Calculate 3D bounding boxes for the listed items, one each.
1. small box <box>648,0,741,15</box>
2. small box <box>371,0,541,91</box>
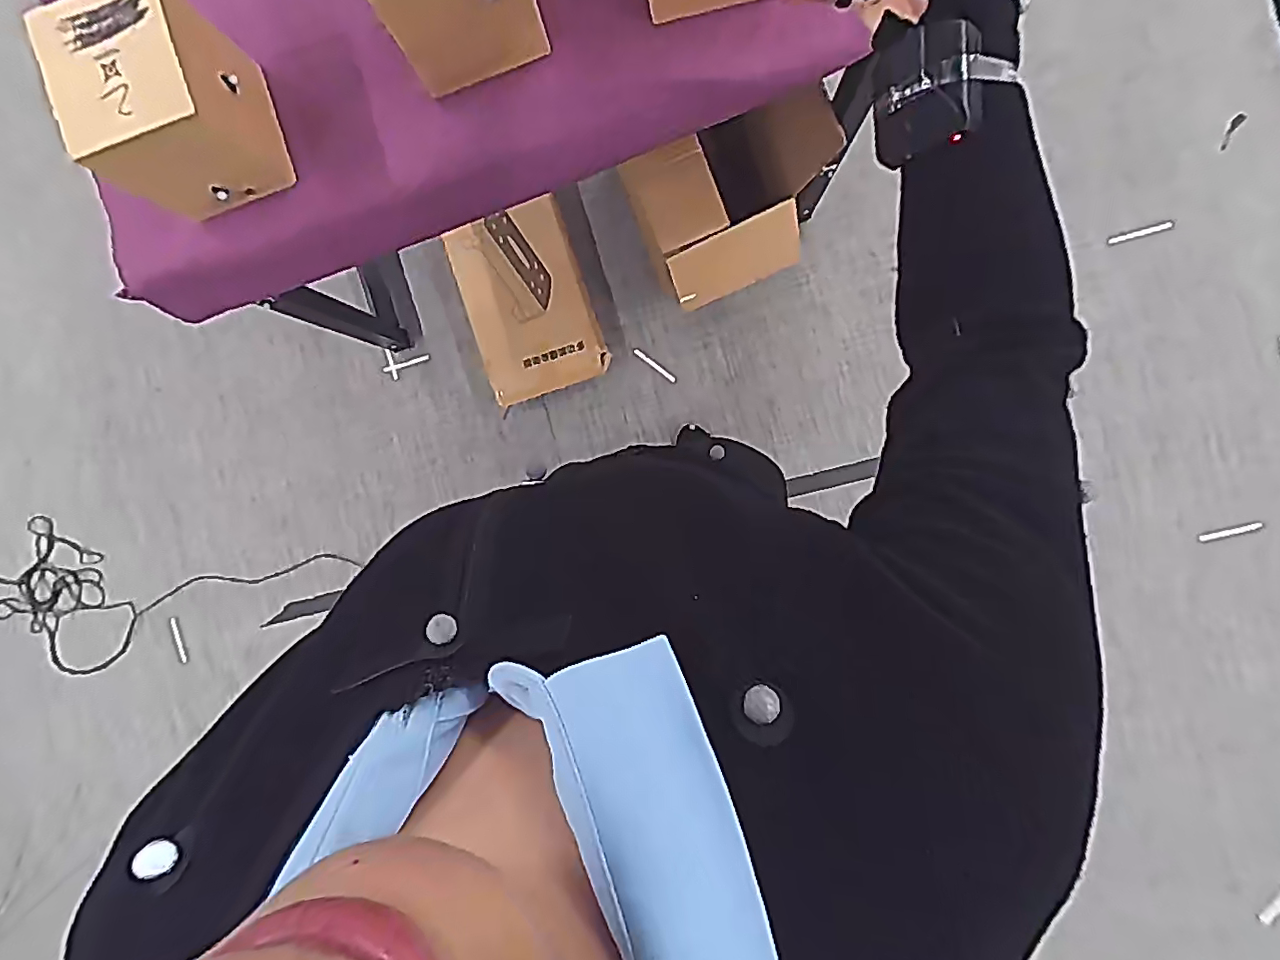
[{"bbox_3d":[0.079,-0.698,0.629,0.179,0.176,0.168,-10,92,4],"label":"small box"},{"bbox_3d":[-0.231,-0.626,0.653,0.179,0.176,0.168,-18,89,5],"label":"small box"}]
